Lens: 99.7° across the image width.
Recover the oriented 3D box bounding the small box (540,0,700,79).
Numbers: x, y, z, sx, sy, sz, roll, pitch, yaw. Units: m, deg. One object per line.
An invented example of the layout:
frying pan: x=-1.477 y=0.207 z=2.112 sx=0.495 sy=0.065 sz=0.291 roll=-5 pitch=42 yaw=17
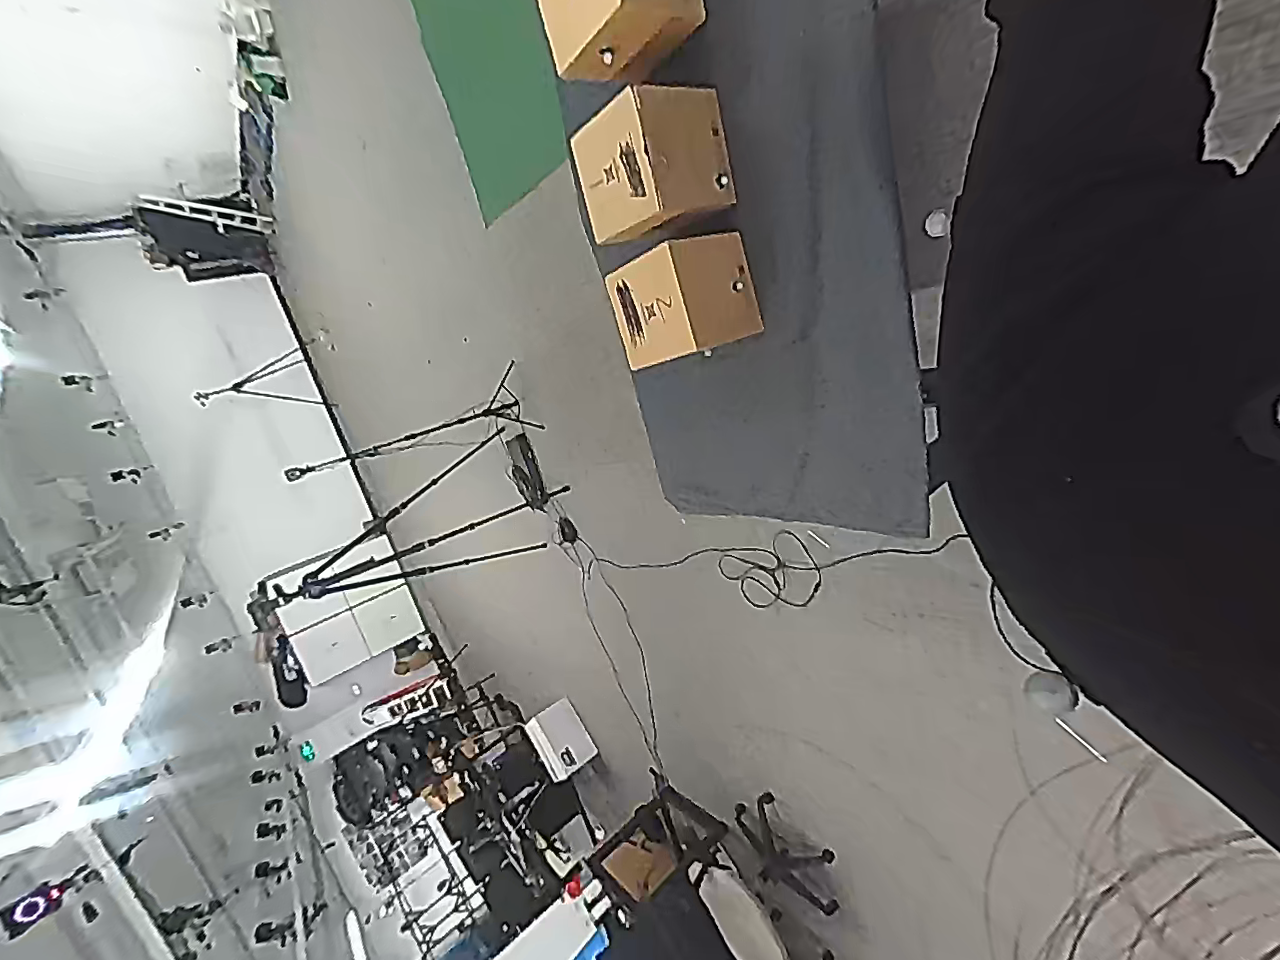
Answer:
small box: x=-0.031 y=-0.729 z=0.799 sx=0.179 sy=0.176 sz=0.168 roll=3 pitch=114 yaw=54
